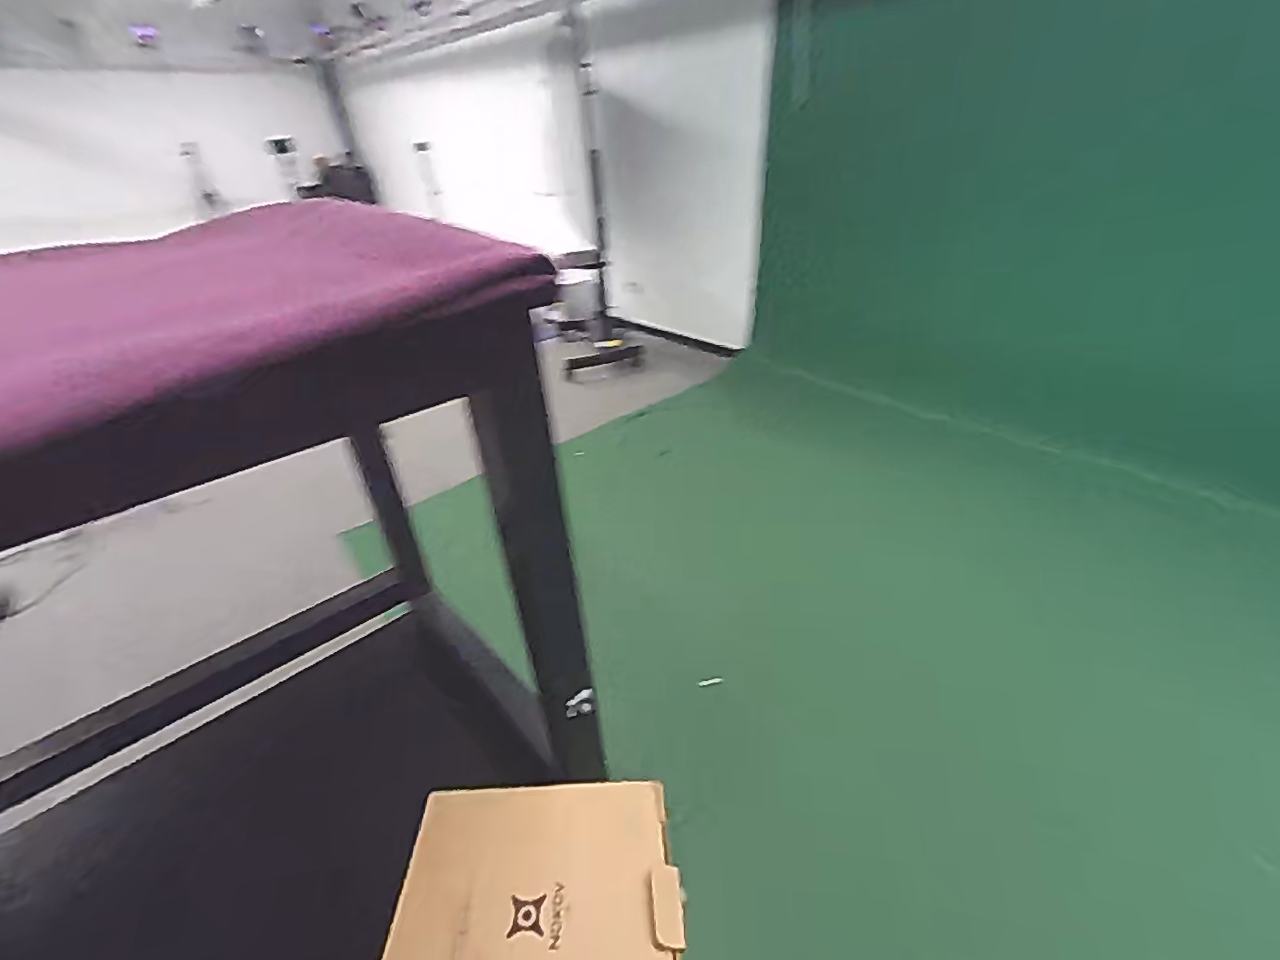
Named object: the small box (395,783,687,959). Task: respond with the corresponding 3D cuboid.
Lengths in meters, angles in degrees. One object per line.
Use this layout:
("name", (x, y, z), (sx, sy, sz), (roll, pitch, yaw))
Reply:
("small box", (-0.060, 0.344, 0.380), (0.179, 0.176, 0.168), (-2, 28, -2))
